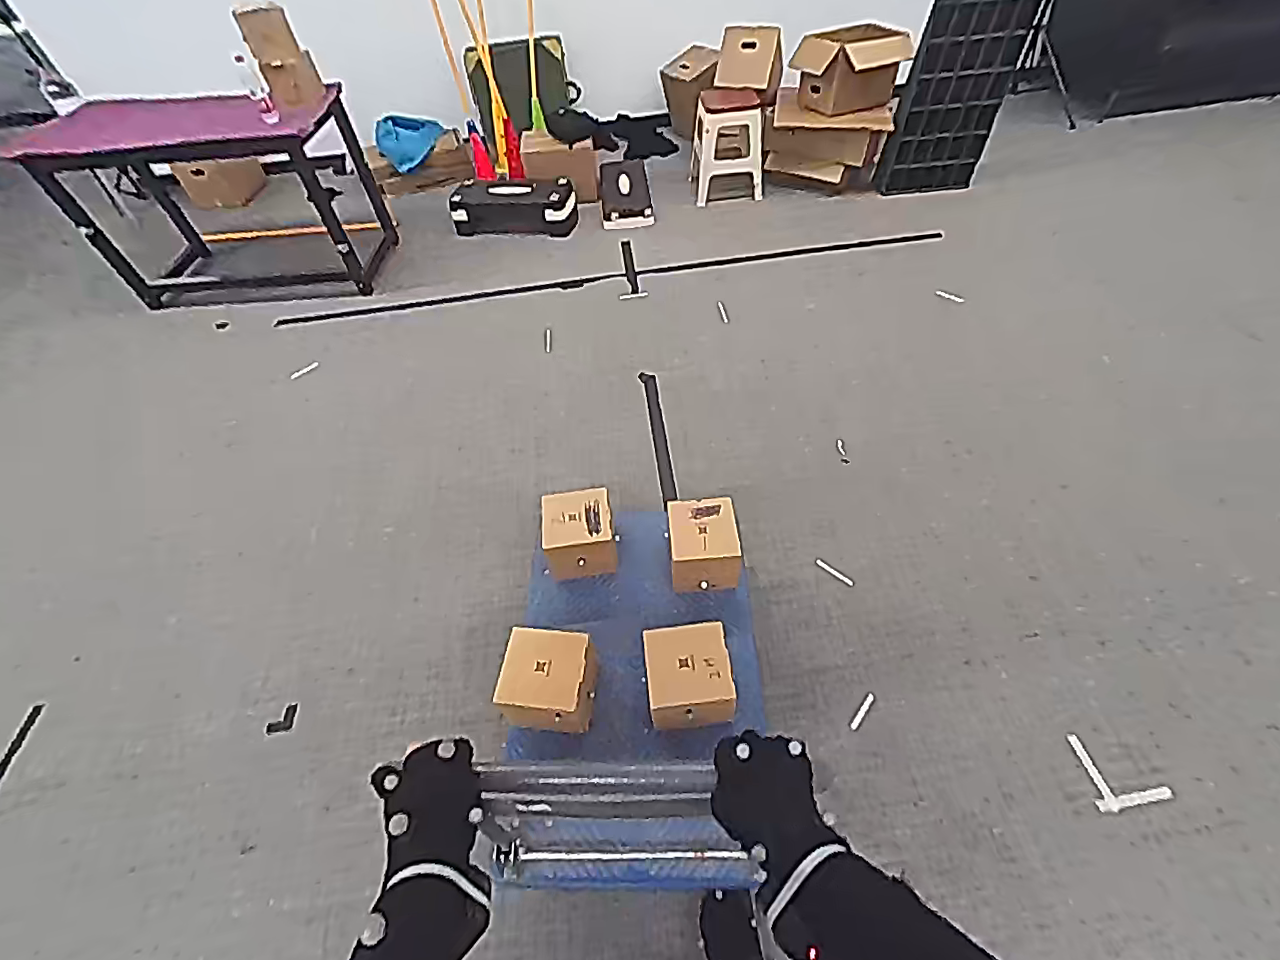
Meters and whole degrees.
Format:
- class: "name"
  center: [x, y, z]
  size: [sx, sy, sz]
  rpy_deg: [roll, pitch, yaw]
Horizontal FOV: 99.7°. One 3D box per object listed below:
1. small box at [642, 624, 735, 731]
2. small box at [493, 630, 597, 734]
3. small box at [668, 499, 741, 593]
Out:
- class: "small box"
  center: [0.103, 0.433, 1.177]
  size: [0.179, 0.176, 0.168]
  rpy_deg: [-7, 51, 0]
- class: "small box"
  center: [-0.200, 0.448, 1.194]
  size: [0.179, 0.176, 0.168]
  rpy_deg: [3, 51, 6]
- class: "small box"
  center: [0.158, 0.170, 1.385]
  size: [0.168, 0.176, 0.179]
  rpy_deg: [-5, 52, 2]
